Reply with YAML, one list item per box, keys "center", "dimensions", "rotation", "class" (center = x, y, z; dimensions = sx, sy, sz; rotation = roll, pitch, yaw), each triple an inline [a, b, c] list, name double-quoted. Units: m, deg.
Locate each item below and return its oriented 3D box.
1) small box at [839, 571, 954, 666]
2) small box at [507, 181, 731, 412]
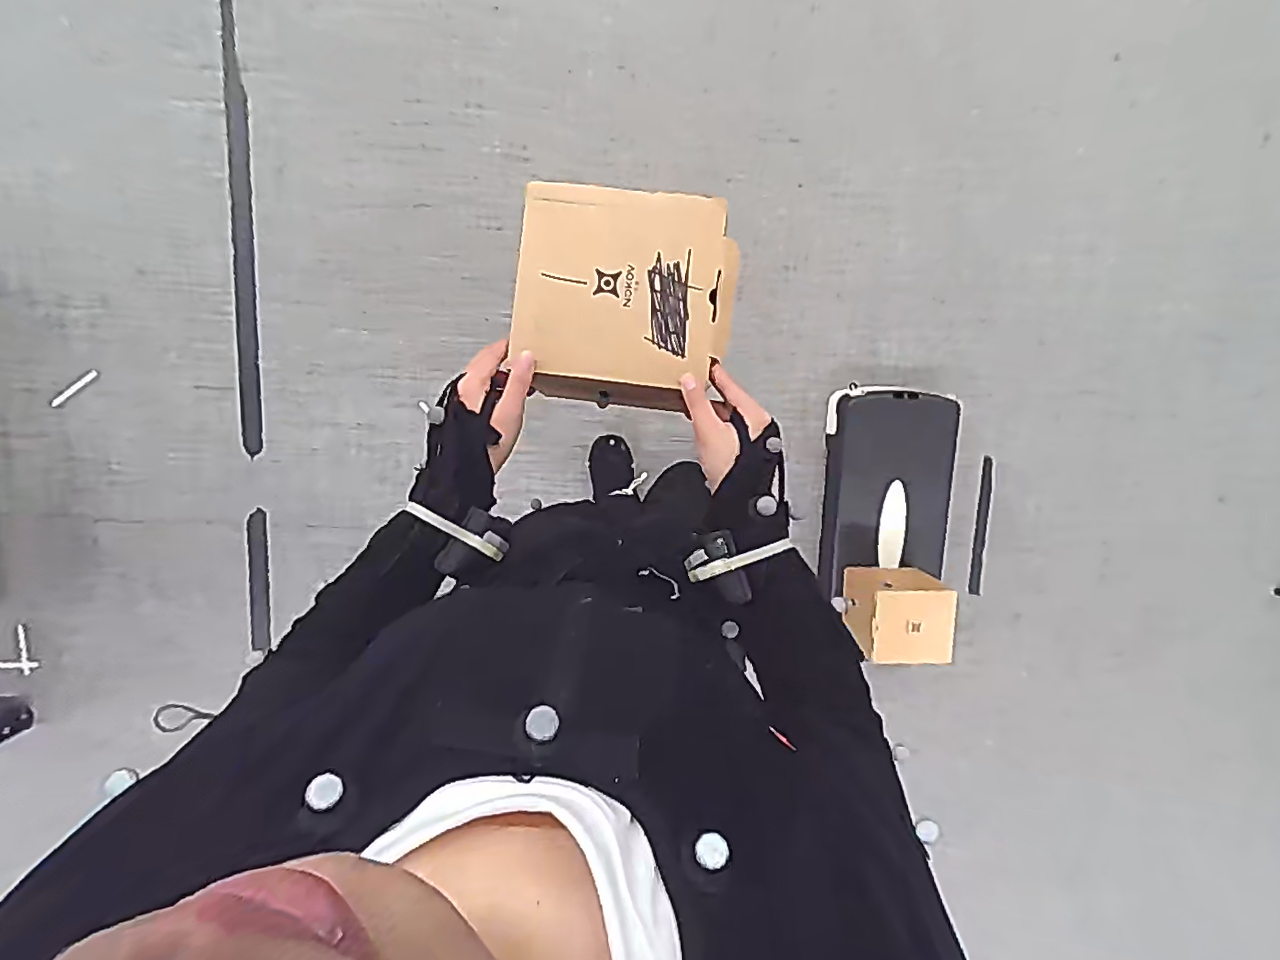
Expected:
- center: [0.577, 0.309, 1.235]
  dimensions: [0.179, 0.176, 0.168]
  rotation: [0, 98, -1]
  class: "small box"
- center: [-0.017, -0.164, 0.537]
  dimensions: [0.179, 0.176, 0.168]
  rotation: [7, 91, 2]
  class: "small box"
